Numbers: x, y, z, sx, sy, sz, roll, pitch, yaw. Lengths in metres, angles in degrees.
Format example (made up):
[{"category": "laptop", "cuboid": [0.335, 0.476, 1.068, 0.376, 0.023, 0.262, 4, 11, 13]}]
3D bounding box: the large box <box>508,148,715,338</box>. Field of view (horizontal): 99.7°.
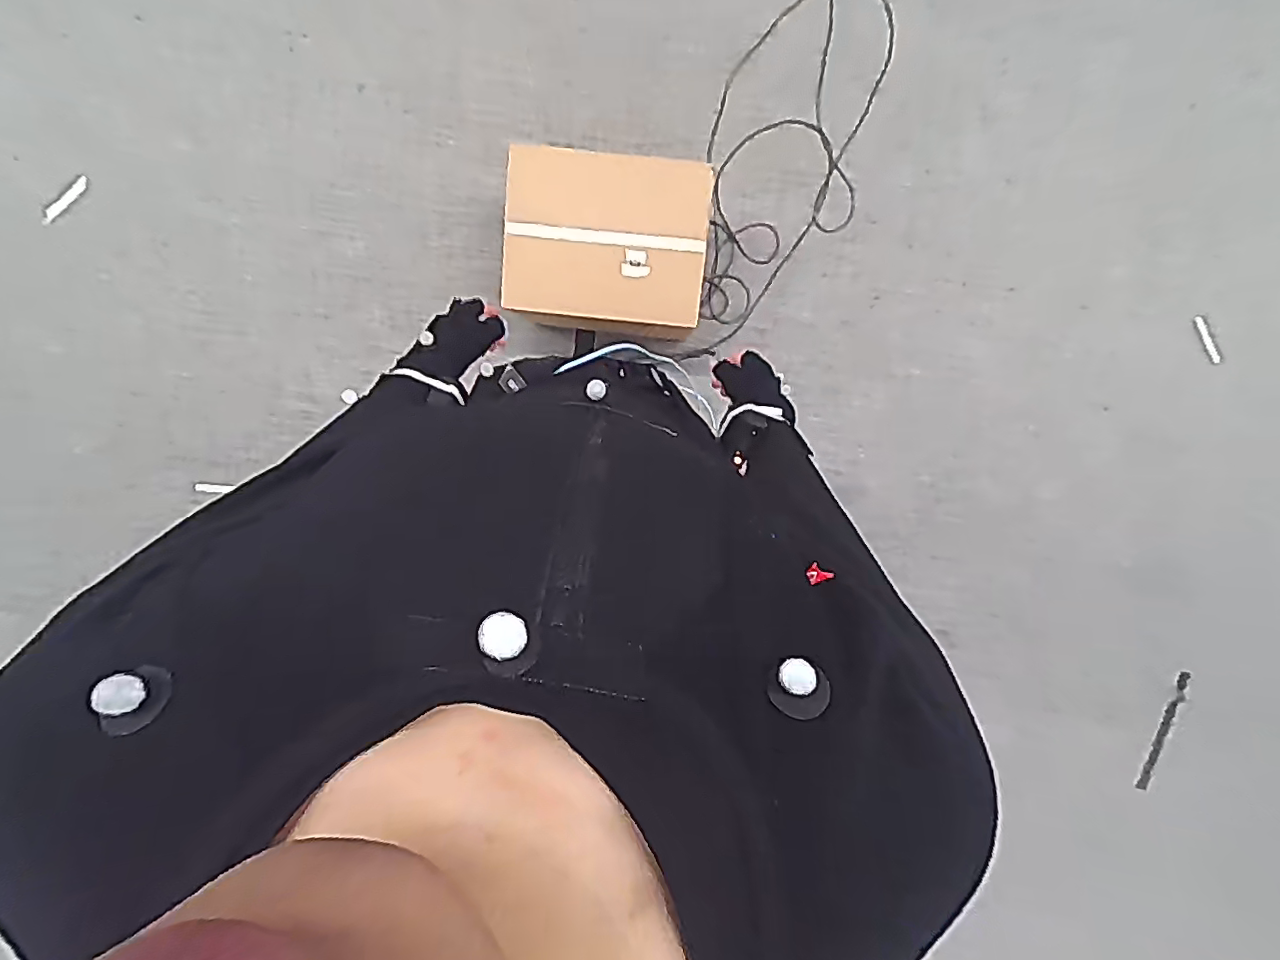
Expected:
[{"category": "large box", "cuboid": [-0.063, -0.511, 1.236, 0.408, 0.320, 0.320, 6, 101, -1]}]
